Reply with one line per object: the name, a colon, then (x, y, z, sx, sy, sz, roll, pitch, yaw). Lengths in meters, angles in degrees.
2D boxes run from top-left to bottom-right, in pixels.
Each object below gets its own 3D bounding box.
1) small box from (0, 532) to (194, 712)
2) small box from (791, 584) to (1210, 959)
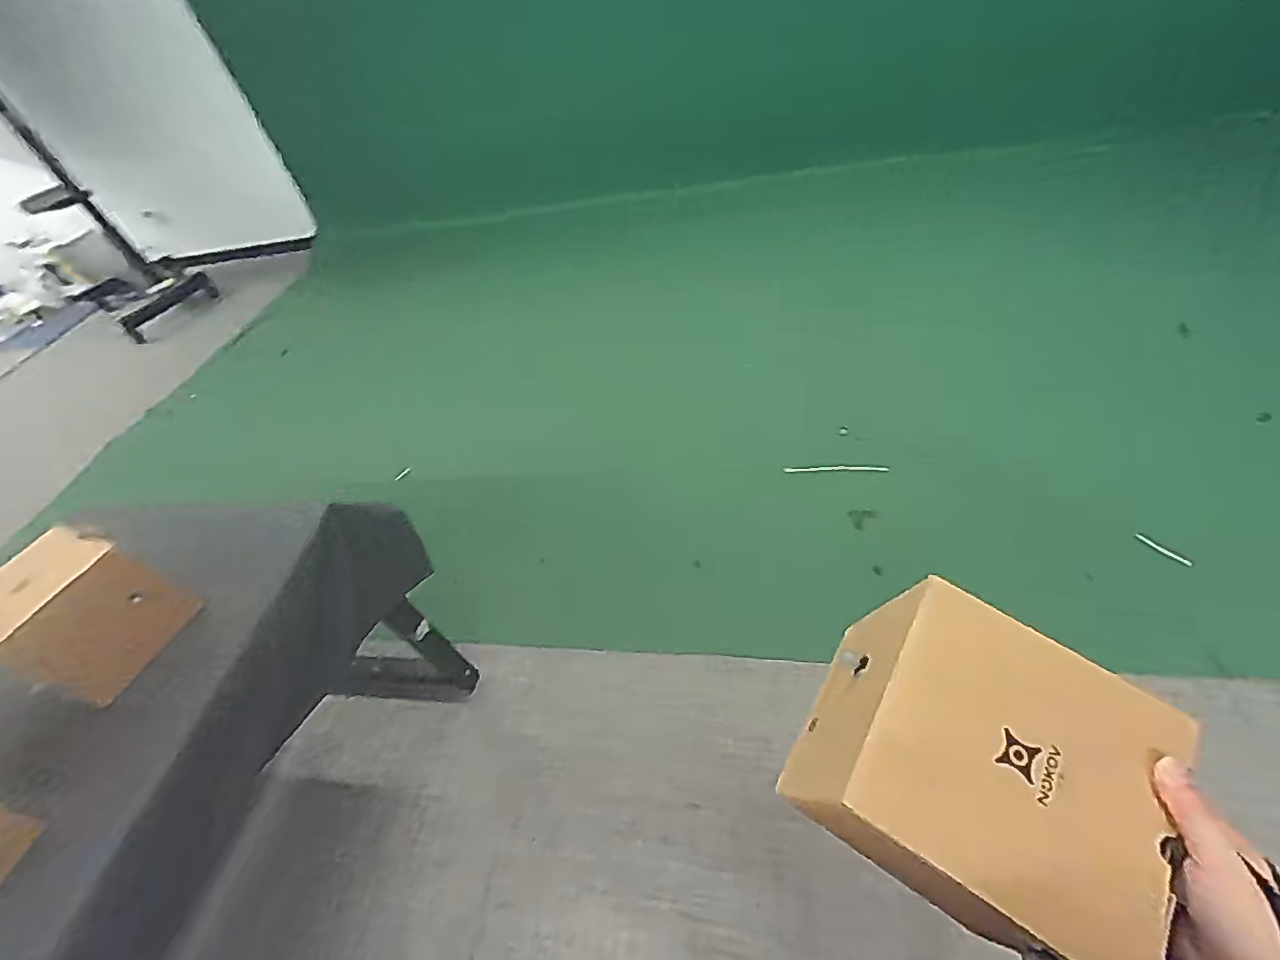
small box: (-0.811, 0.206, 0.790, 0.168, 0.176, 0.179, 9, 52, 23)
small box: (0.235, 0.210, 0.393, 0.179, 0.176, 0.168, 31, 65, 13)
